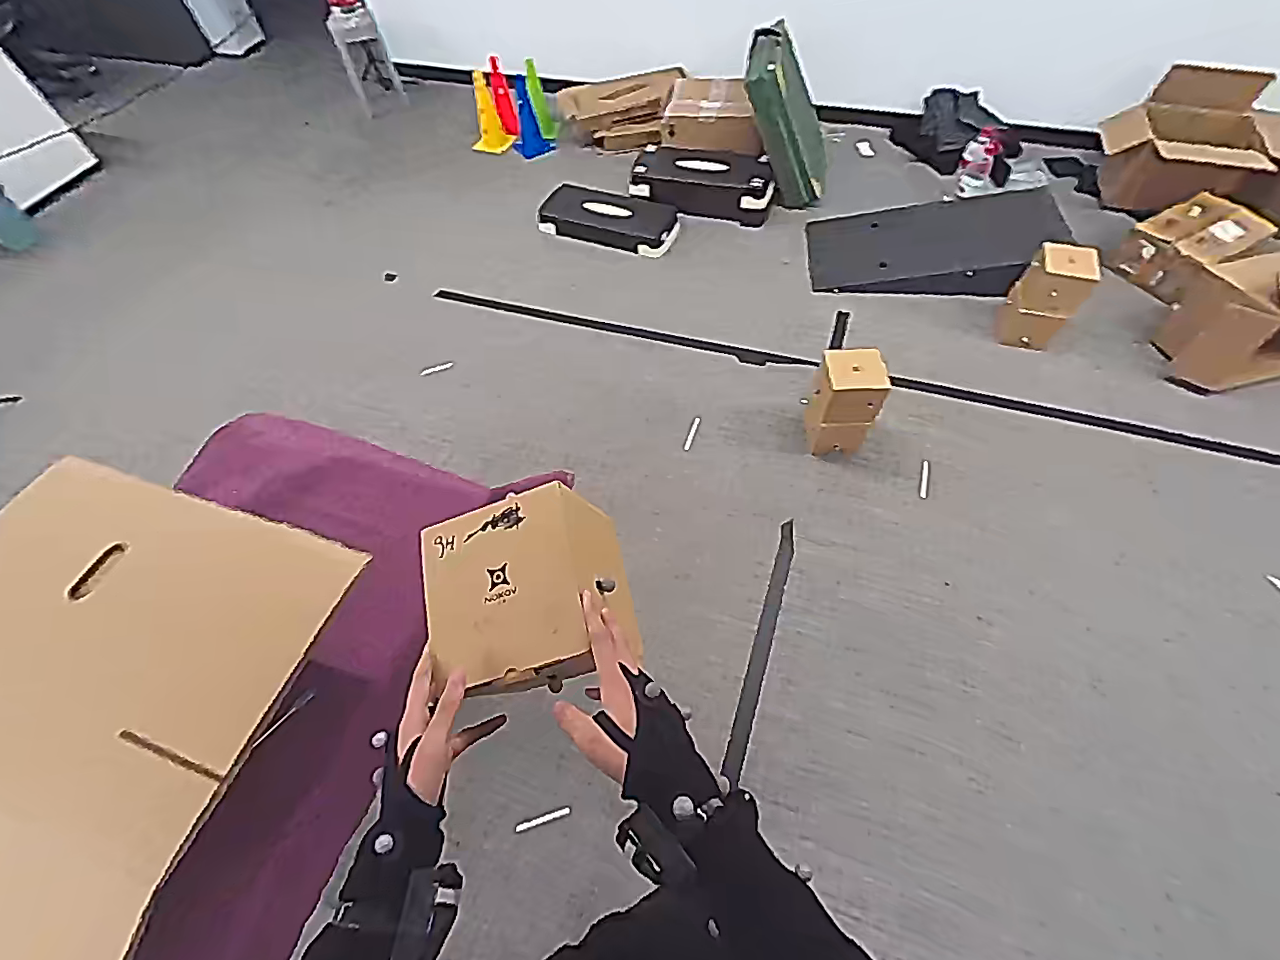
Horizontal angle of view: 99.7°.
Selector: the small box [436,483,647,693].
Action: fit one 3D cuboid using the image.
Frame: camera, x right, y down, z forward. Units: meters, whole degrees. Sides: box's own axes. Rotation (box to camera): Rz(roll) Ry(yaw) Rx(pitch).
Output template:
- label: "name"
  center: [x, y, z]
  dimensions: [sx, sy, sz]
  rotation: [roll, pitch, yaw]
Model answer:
- label: "small box"
  center: [-0.103, 0.127, 0.611]
  dimensions: [0.168, 0.176, 0.179]
  rotation: [-19, 68, 10]
